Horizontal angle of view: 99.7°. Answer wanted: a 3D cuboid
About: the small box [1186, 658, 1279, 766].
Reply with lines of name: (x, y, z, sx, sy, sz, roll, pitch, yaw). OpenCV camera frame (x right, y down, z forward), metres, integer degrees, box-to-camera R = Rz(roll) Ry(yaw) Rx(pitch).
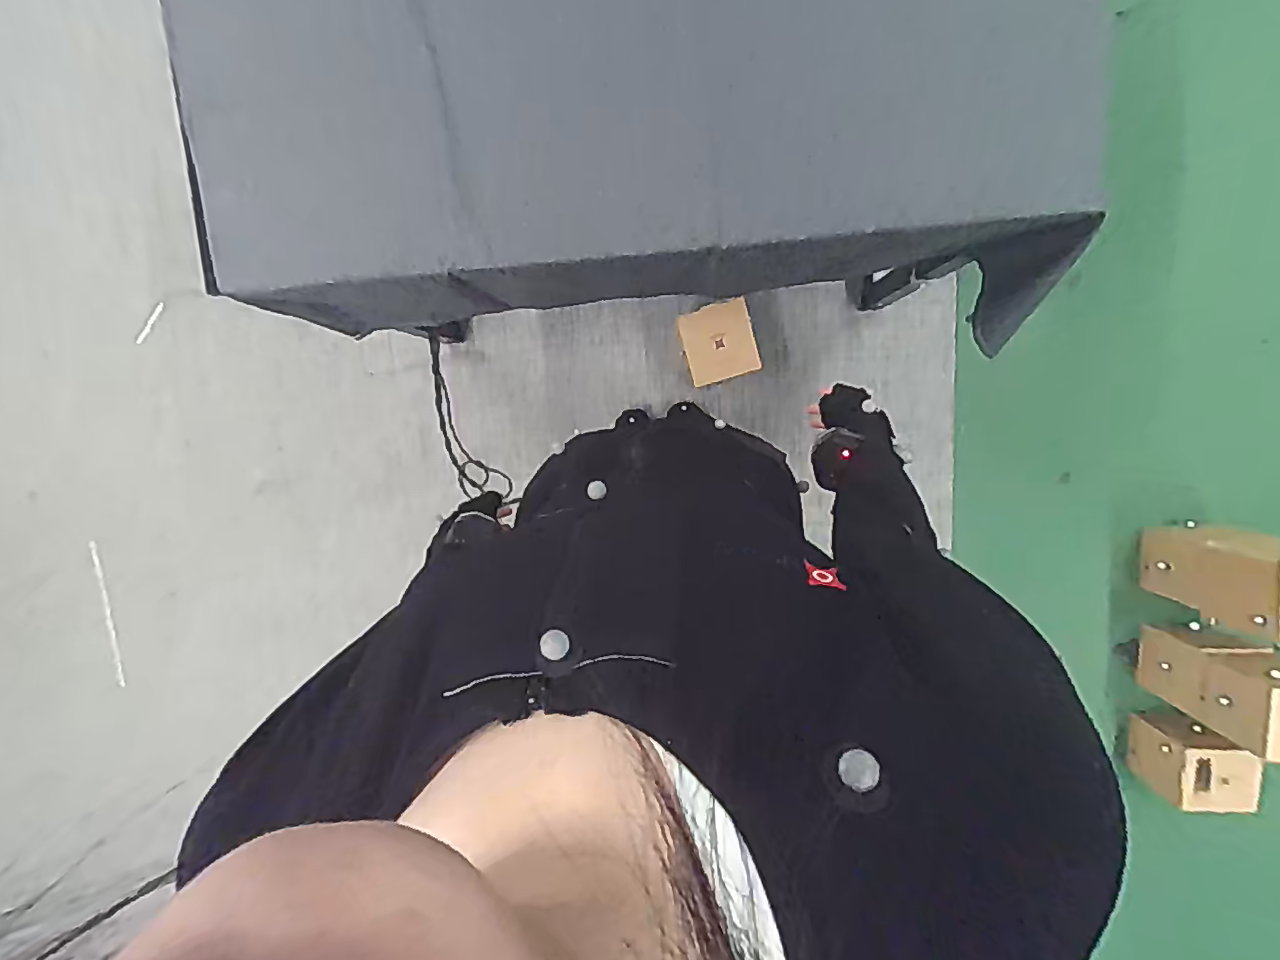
small box: (1.386, 0.511, 1.207, 0.179, 0.176, 0.168, -2, 98, 4)

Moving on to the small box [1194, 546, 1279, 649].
small box: (1.369, 0.246, 1.177, 0.168, 0.176, 0.179, -6, 97, 5)

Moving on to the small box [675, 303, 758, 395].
small box: (0.185, -0.320, 1.357, 0.168, 0.176, 0.179, -15, 95, 6)
